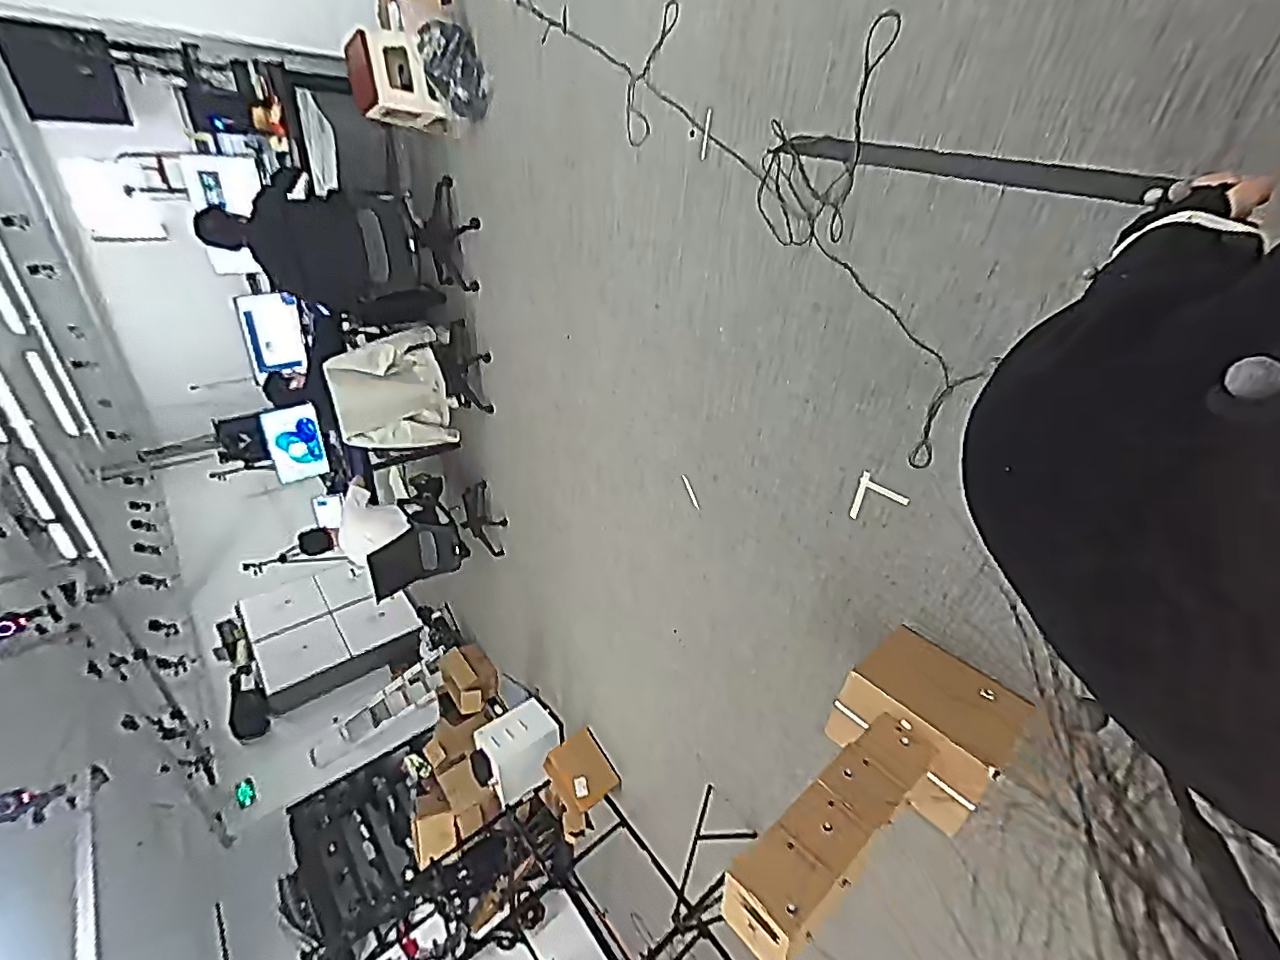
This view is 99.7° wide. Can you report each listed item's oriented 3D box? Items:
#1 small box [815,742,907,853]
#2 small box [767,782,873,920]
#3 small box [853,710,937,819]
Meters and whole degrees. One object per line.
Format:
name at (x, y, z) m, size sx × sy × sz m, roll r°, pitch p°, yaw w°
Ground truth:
small box at (0.550, 0.814, 1.378) m, size 0.168 × 0.176 × 0.179 m, roll 33°, pitch 132°, yaw 41°
small box at (0.427, 0.867, 1.281) m, size 0.168 × 0.176 × 0.179 m, roll 29°, pitch 128°, yaw 44°
small box at (0.676, 0.774, 1.472) m, size 0.168 × 0.176 × 0.179 m, roll 33°, pitch 130°, yaw 39°
